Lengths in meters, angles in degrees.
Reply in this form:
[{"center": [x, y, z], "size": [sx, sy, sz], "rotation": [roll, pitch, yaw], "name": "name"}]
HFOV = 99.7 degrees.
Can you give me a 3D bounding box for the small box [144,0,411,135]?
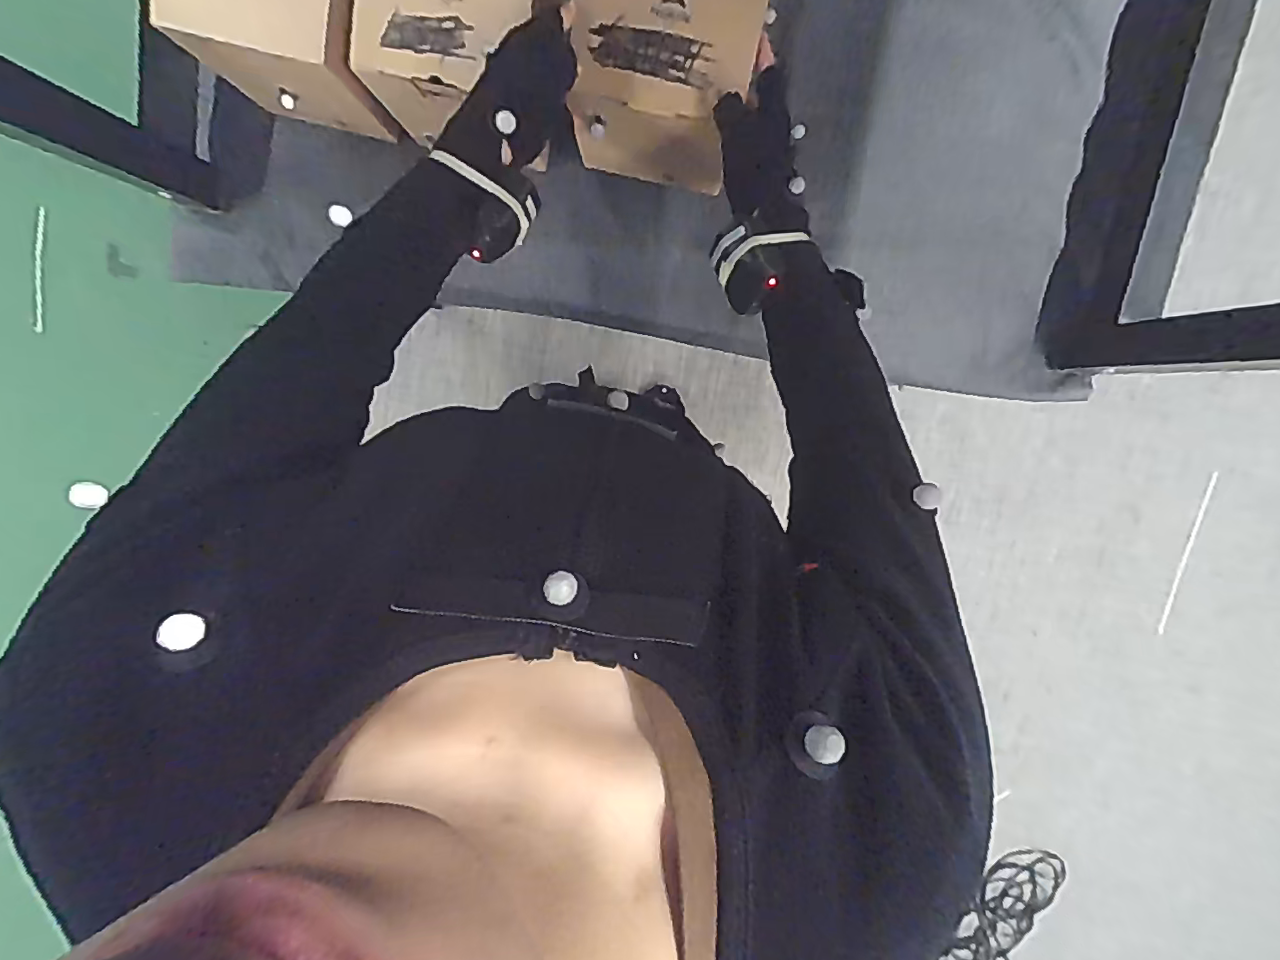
[{"center": [-0.360, -0.501, 0.566], "size": [0.168, 0.176, 0.179], "rotation": [12, 99, -3], "name": "small box"}]
